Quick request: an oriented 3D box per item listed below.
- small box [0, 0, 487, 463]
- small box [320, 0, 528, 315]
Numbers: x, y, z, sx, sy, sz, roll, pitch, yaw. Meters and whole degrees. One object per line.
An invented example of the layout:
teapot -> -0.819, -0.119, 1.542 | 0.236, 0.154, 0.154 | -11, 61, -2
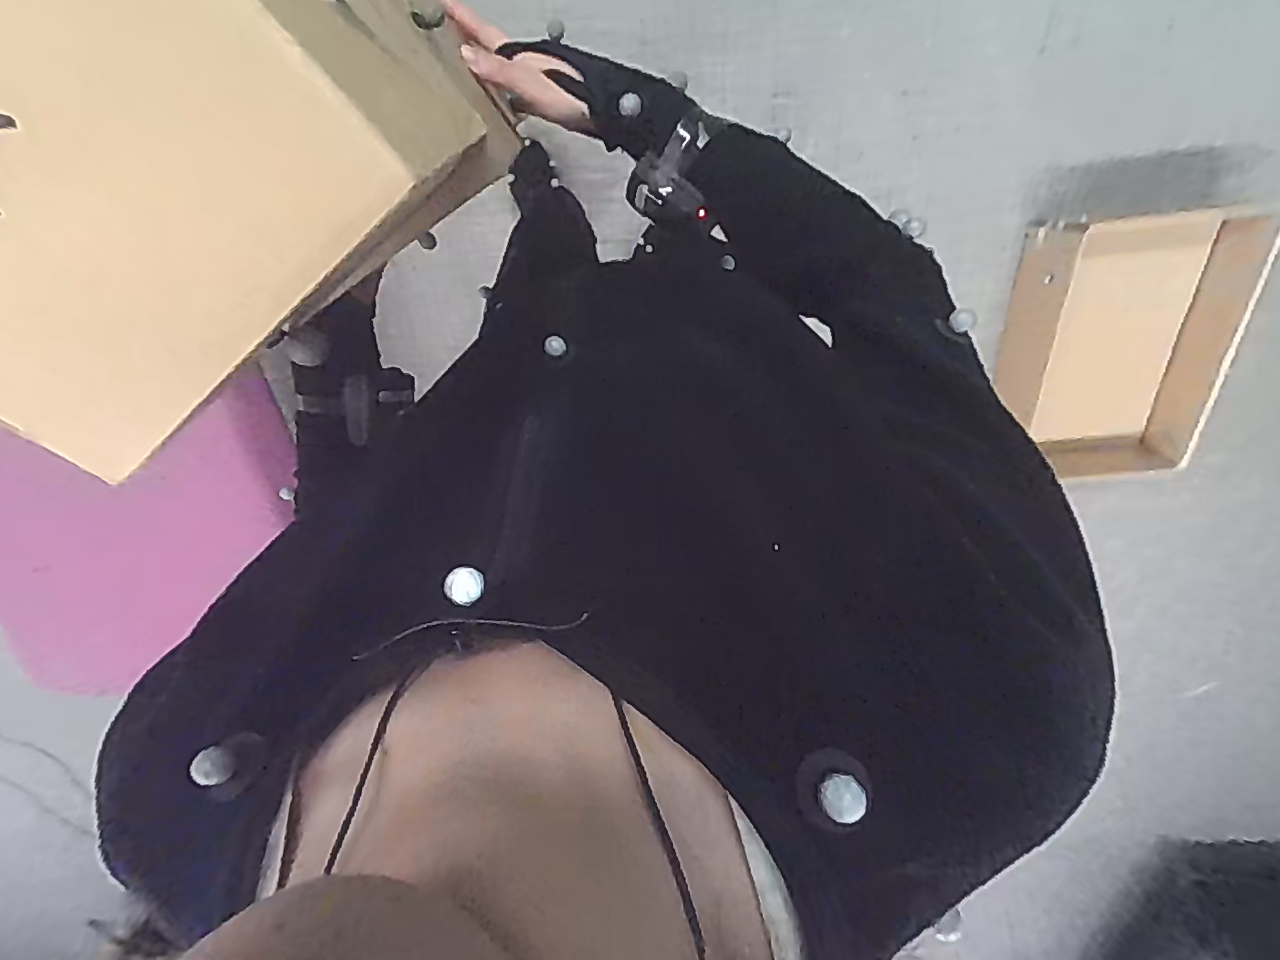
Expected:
small box -> -0.177, -0.147, 0.206 | 0.179, 0.176, 0.168 | -32, 124, 18
small box -> -0.186, -0.242, 0.337 | 0.168, 0.176, 0.179 | -27, 125, 13
